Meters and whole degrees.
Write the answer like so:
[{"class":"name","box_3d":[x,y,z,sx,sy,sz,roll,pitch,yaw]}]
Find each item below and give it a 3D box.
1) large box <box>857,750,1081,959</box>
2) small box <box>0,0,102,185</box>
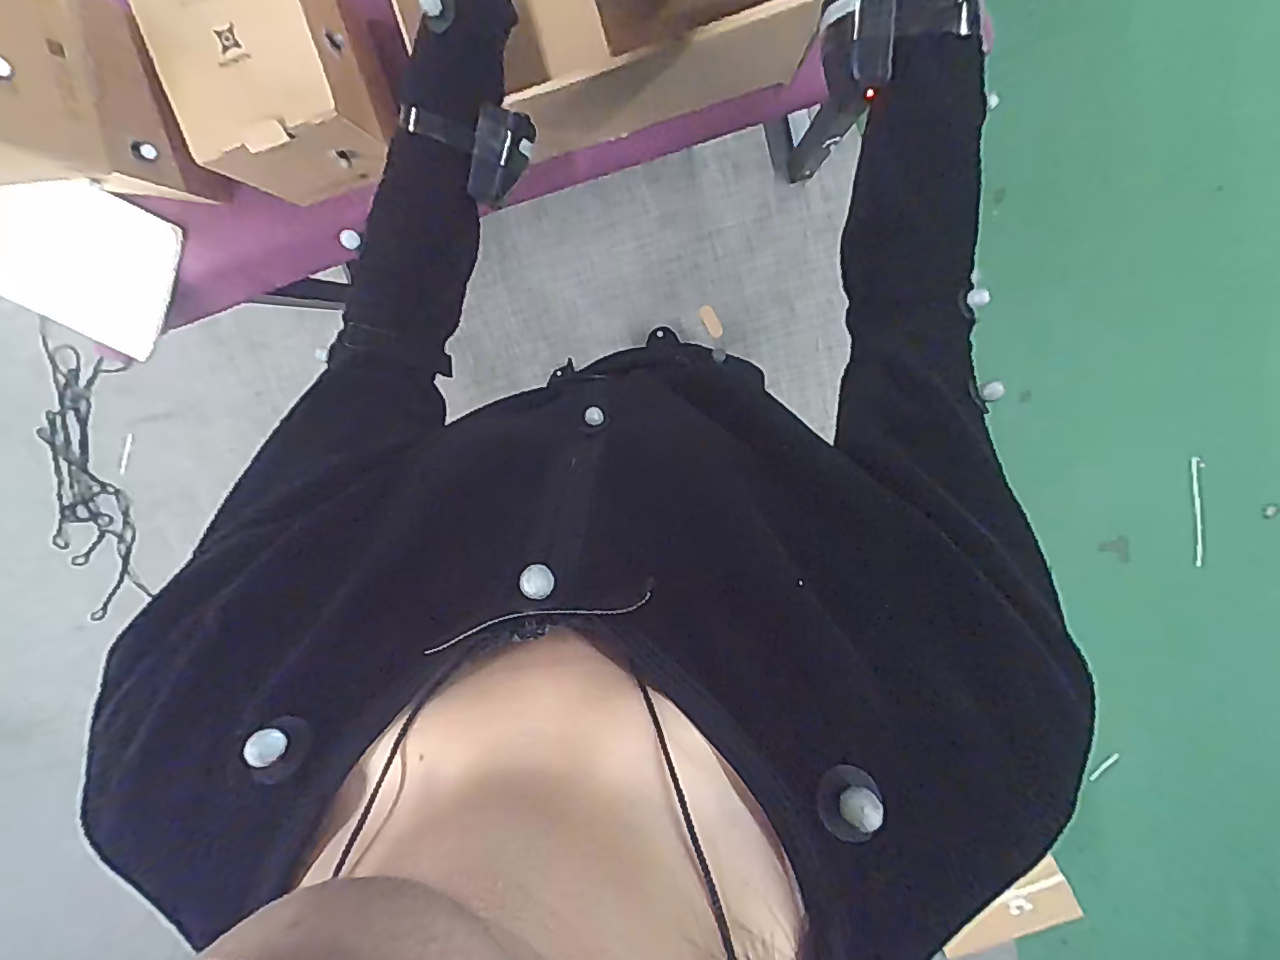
[{"class":"large box","box_3d":[0.922,1.078,1.570,0.408,0.320,0.320,-30,101,9]},{"class":"small box","box_3d":[-0.634,-0.372,0.472,0.179,0.176,0.168,-1,104,5]}]
